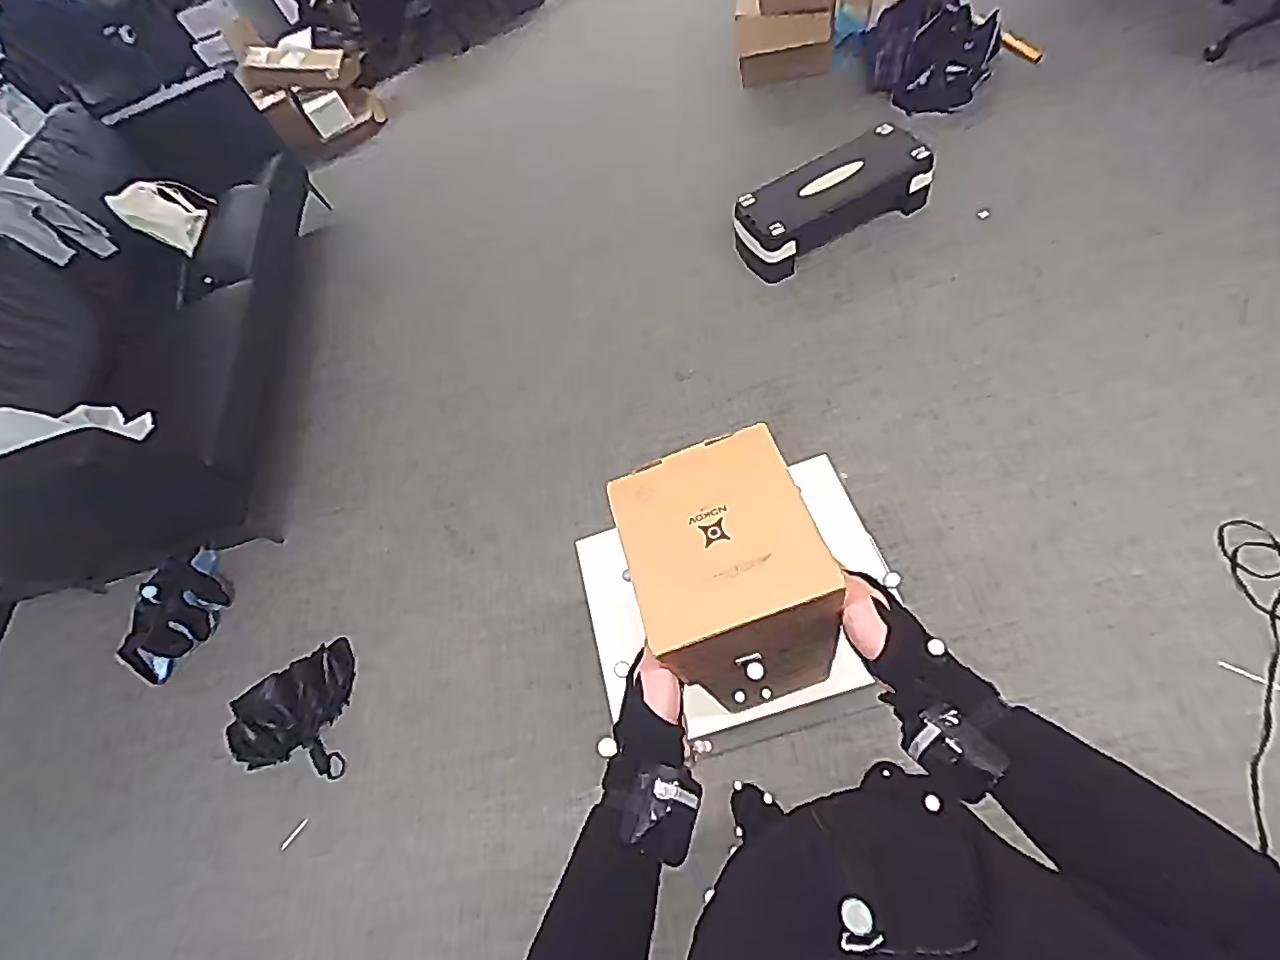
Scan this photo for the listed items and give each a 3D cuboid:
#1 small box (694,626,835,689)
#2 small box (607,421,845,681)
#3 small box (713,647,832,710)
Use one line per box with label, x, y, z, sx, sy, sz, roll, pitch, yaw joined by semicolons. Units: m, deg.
small box;0.130;0.150;0.682;0.168;0.176;0.179;-22;57;4
small box;0.084;0.078;0.540;0.168;0.176;0.179;-22;57;5
small box;0.172;0.227;0.821;0.168;0.176;0.179;-23;57;4
